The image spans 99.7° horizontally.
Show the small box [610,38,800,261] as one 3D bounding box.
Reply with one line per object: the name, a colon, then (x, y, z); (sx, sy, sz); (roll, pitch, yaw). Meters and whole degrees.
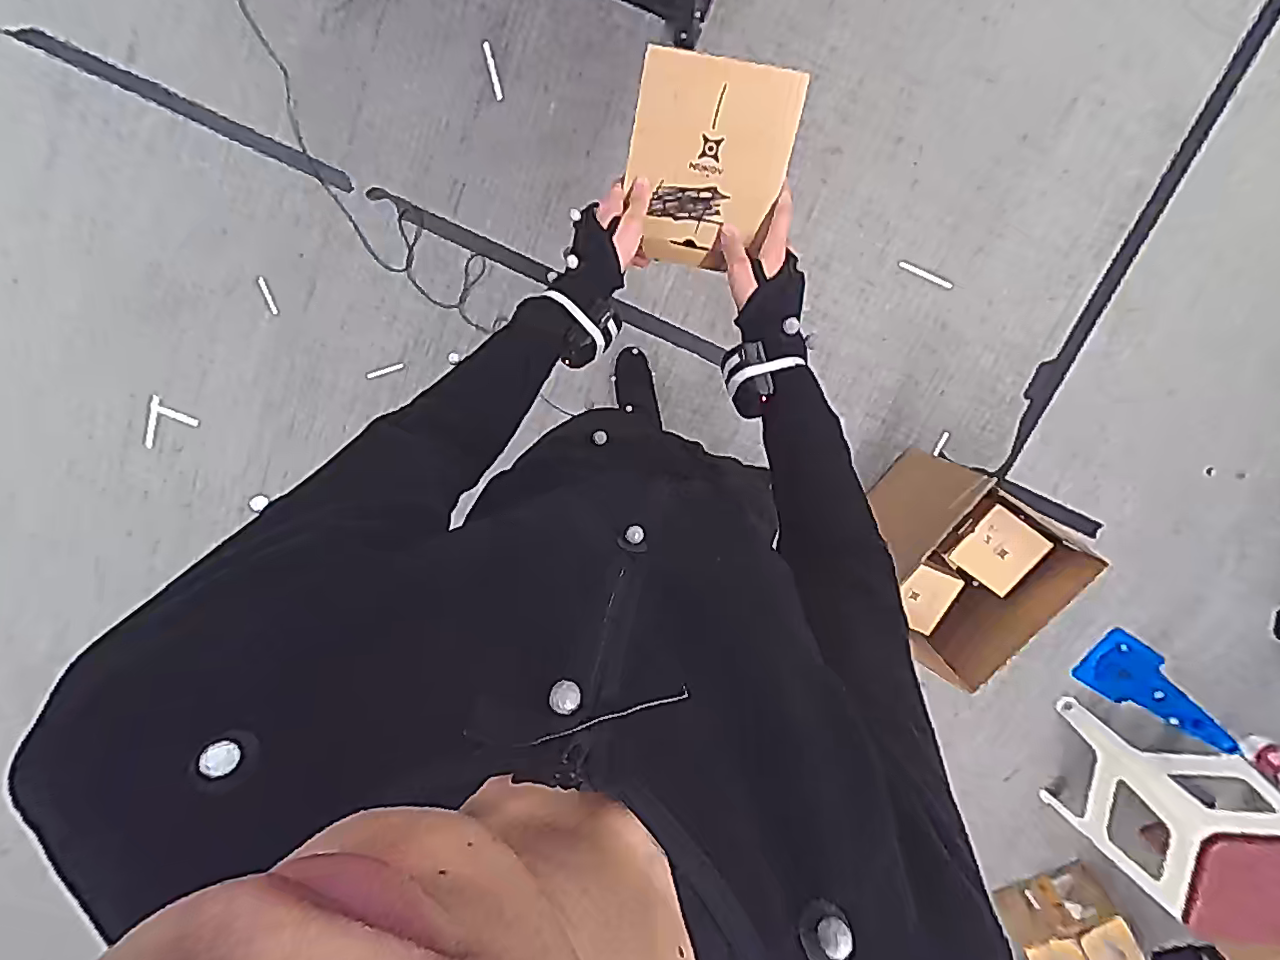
small box: (0.074, -0.364, 0.631); (0.168, 0.176, 0.179); (13, 109, 4)
